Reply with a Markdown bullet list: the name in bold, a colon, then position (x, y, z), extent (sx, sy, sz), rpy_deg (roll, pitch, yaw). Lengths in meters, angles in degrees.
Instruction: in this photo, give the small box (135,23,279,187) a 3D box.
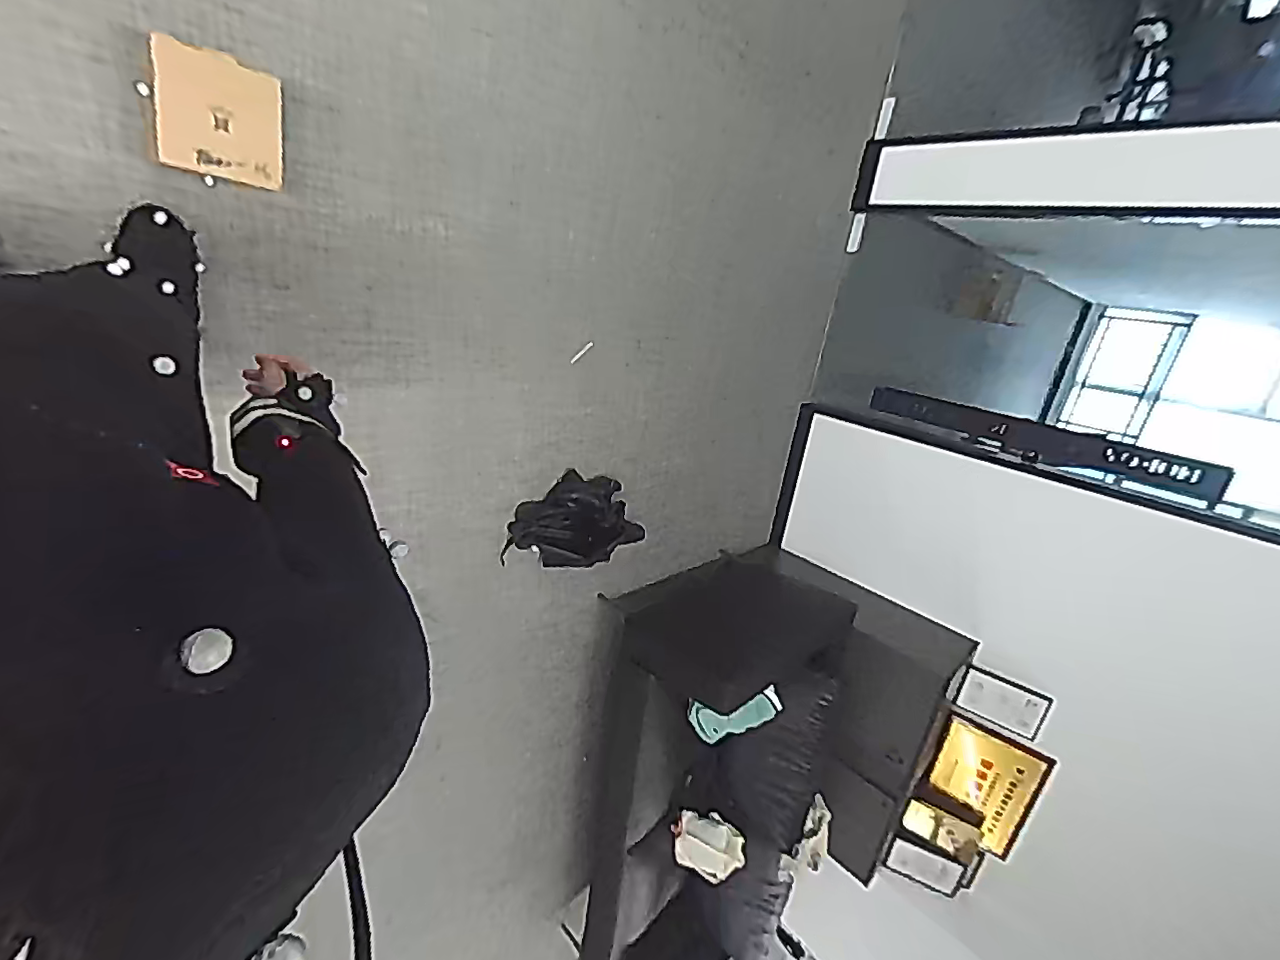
- **small box**: position (-0.728, -0.613, 0.912), extent (0.168, 0.176, 0.179), rpy_deg (-7, 115, -45)
